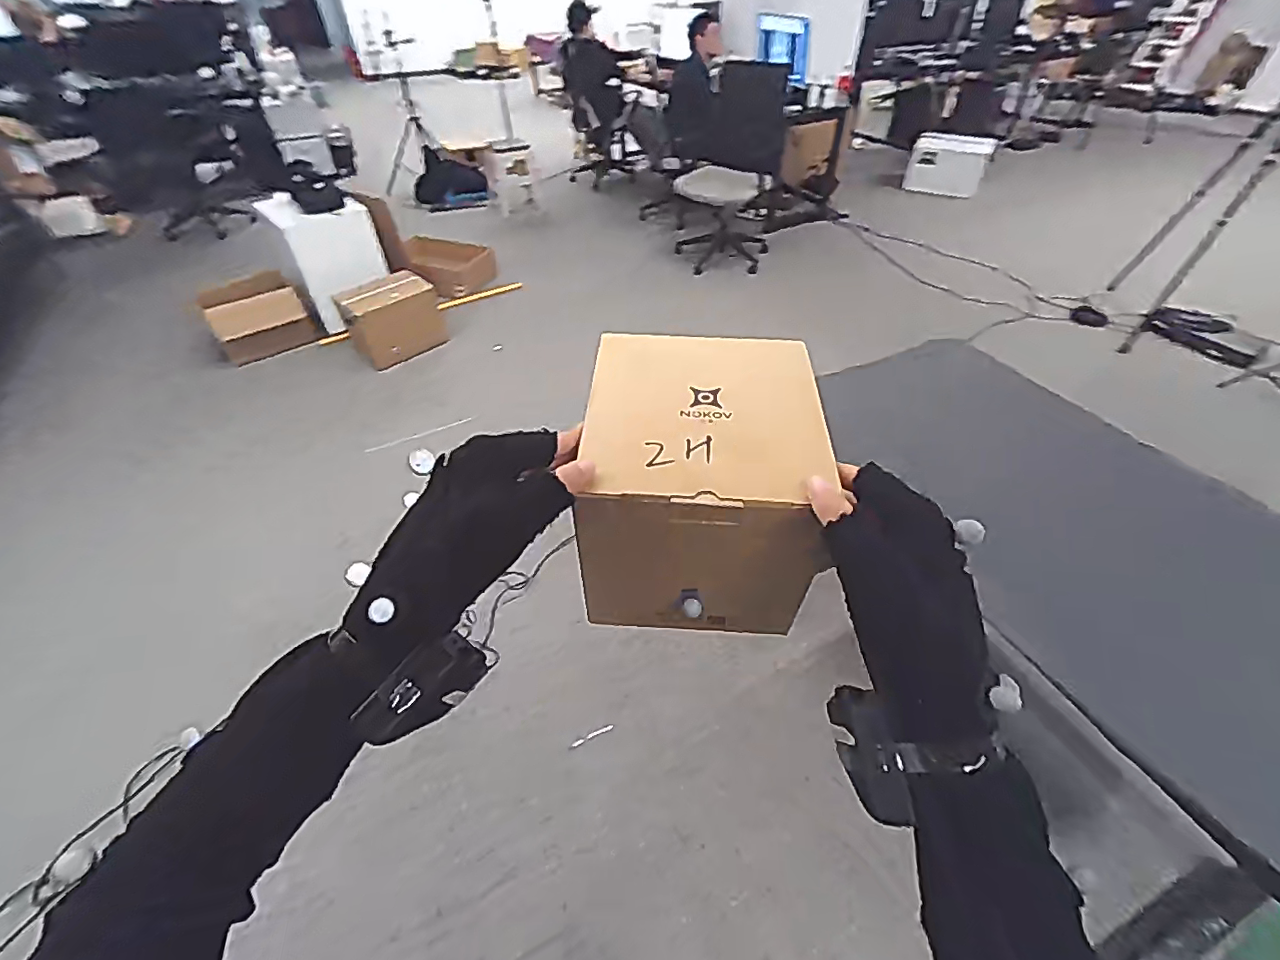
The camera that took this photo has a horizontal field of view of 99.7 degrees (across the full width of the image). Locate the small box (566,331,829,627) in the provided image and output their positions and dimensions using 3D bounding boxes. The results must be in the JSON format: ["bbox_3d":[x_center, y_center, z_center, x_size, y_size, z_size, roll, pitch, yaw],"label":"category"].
[{"bbox_3d":[0.039,-0.001,0.446,0.168,0.176,0.179,2,48,2],"label":"small box"}]
